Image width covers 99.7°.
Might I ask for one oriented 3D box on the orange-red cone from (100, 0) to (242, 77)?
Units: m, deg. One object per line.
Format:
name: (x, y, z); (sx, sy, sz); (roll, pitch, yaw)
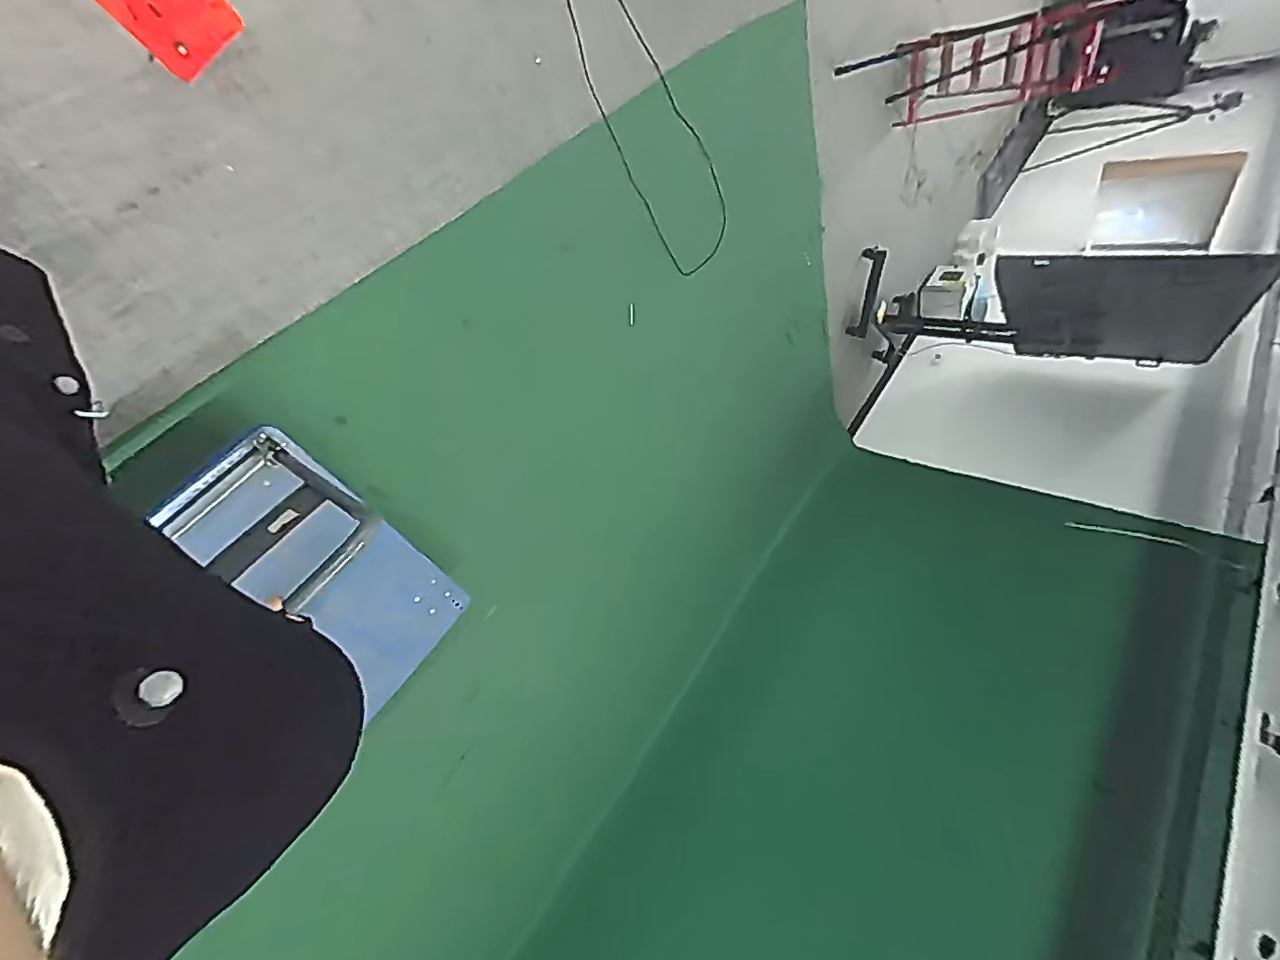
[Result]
orange-red cone: (-0.818, -0.914, 0.978); (0.199, 0.360, 0.198); (-60, 143, -14)
